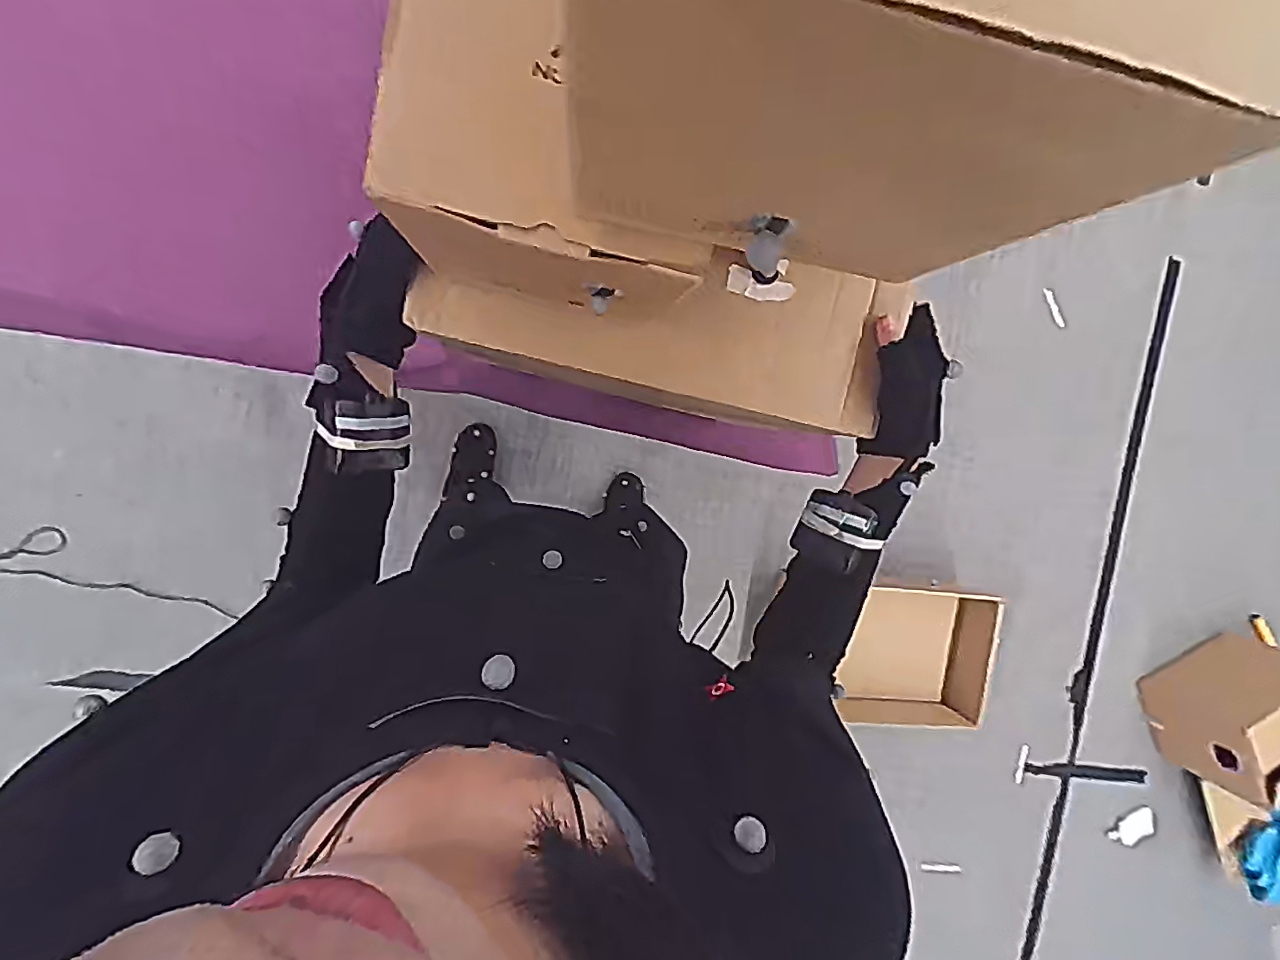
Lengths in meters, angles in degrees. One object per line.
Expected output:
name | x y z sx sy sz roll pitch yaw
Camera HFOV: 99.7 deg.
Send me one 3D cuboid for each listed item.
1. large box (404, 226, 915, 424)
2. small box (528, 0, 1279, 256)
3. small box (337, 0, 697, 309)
large box | 0.017 -0.251 0.569 0.408 0.320 0.320 11 97 -10
small box | 0.066 -0.185 0.169 0.179 0.176 0.168 8 97 -9
small box | -0.050 -0.212 0.316 0.168 0.176 0.179 10 96 -11
